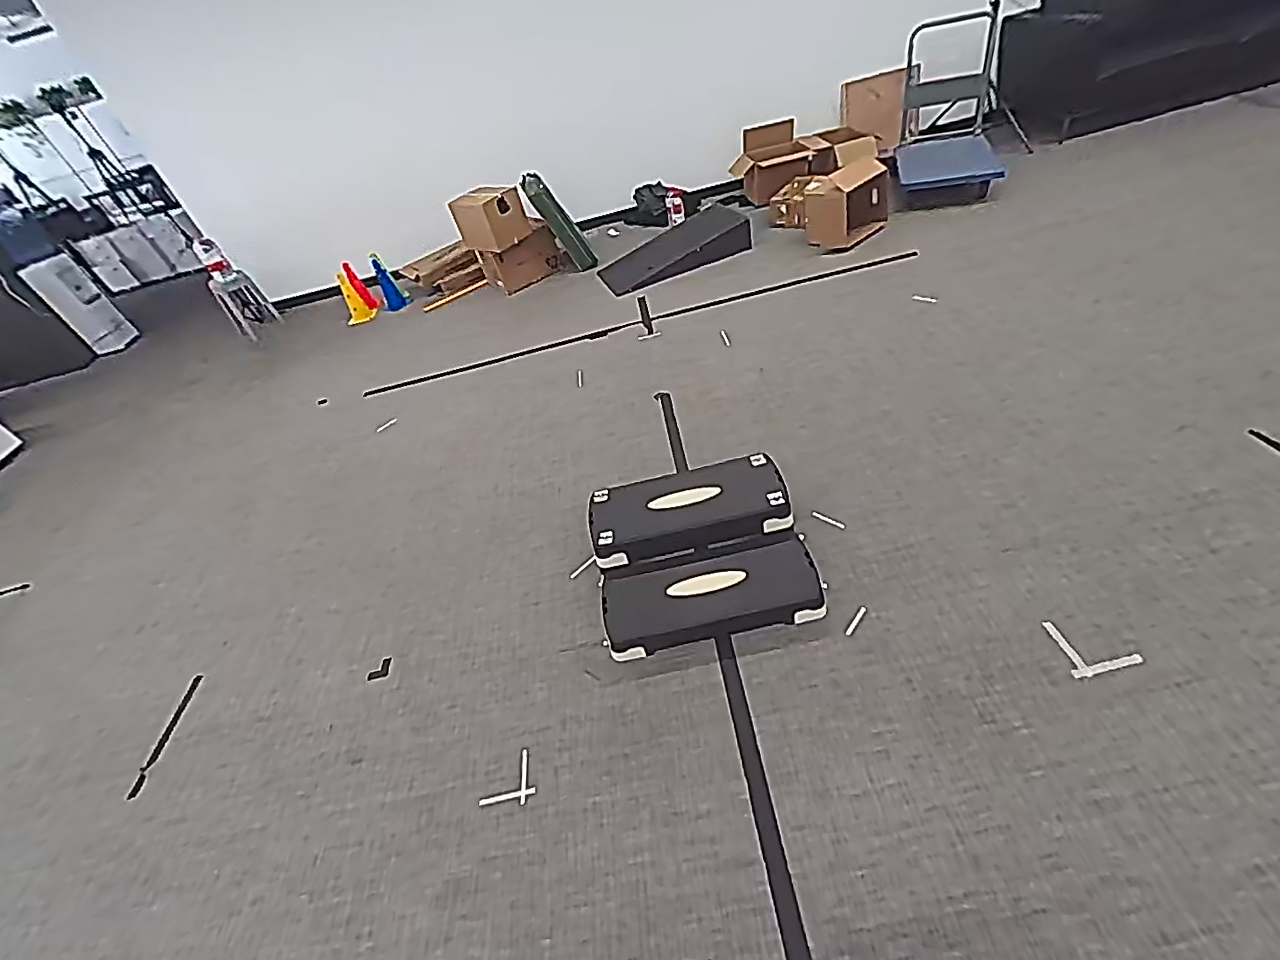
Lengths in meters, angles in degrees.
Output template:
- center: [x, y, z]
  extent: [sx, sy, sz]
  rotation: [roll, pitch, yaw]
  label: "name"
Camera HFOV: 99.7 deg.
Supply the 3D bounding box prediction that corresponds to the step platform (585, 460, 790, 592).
- center: [0.153, 0.151, 1.851]
  extent: [0.684, 0.204, 0.286]
  rotation: [-13, 43, 2]
  label: "step platform"
